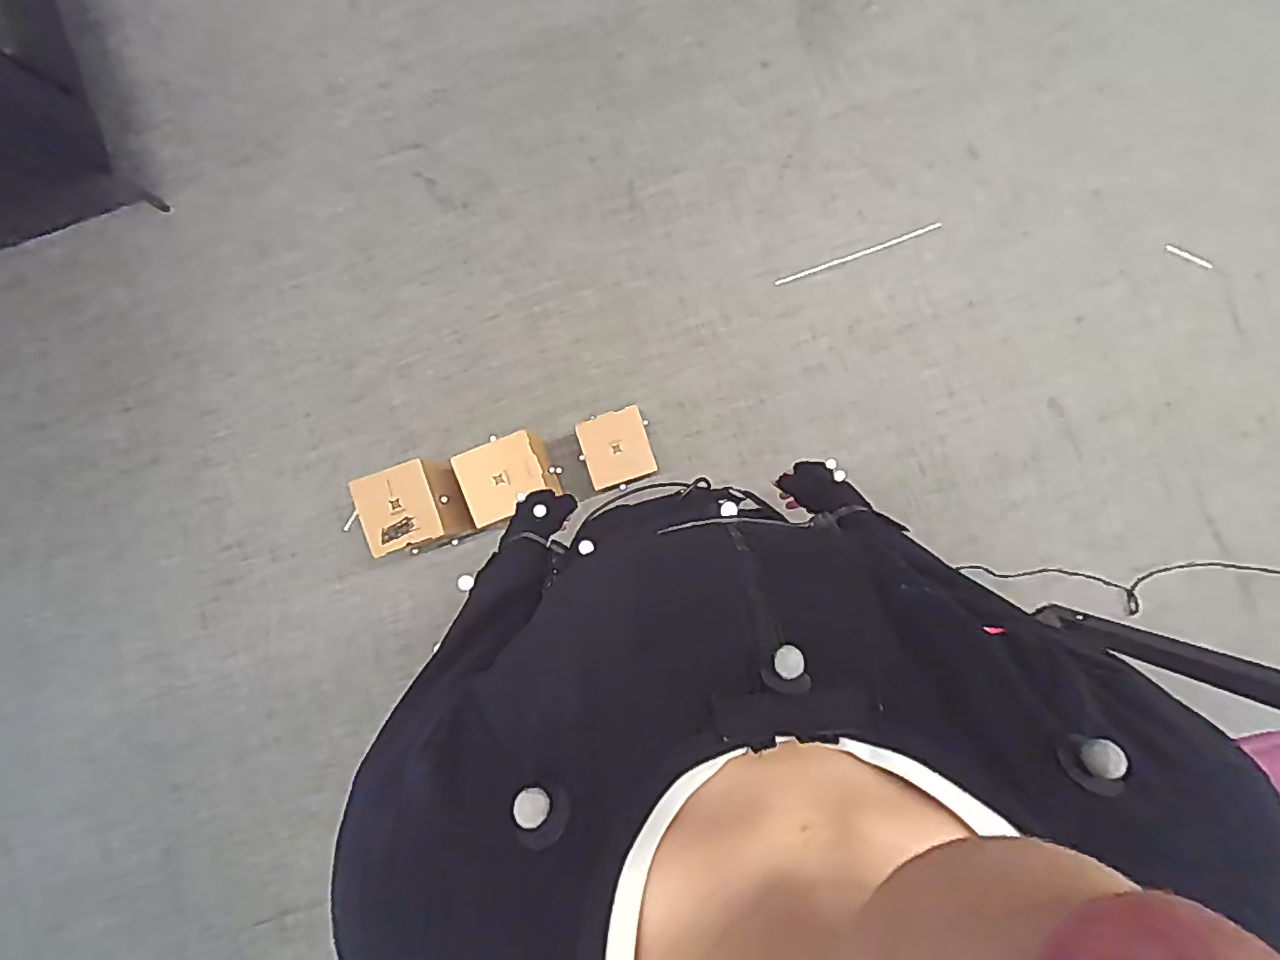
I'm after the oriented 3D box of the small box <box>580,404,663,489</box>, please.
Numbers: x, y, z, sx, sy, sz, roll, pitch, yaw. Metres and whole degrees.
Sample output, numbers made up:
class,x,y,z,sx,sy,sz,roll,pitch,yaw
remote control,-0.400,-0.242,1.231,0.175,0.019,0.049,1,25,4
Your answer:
class,x,y,z,sx,sy,sz,roll,pitch,yaw
small box,-0.047,-0.080,1.401,0.168,0.176,0.179,-18,90,1

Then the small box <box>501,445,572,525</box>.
class,x,y,z,sx,sy,sz,roll,pitch,yaw
small box,-0.288,0.008,1.399,0.168,0.176,0.179,-21,88,1

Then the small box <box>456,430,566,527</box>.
class,x,y,z,sx,sy,sz,roll,pitch,yaw
small box,-0.286,-0.001,1.237,0.179,0.176,0.168,-22,90,0
